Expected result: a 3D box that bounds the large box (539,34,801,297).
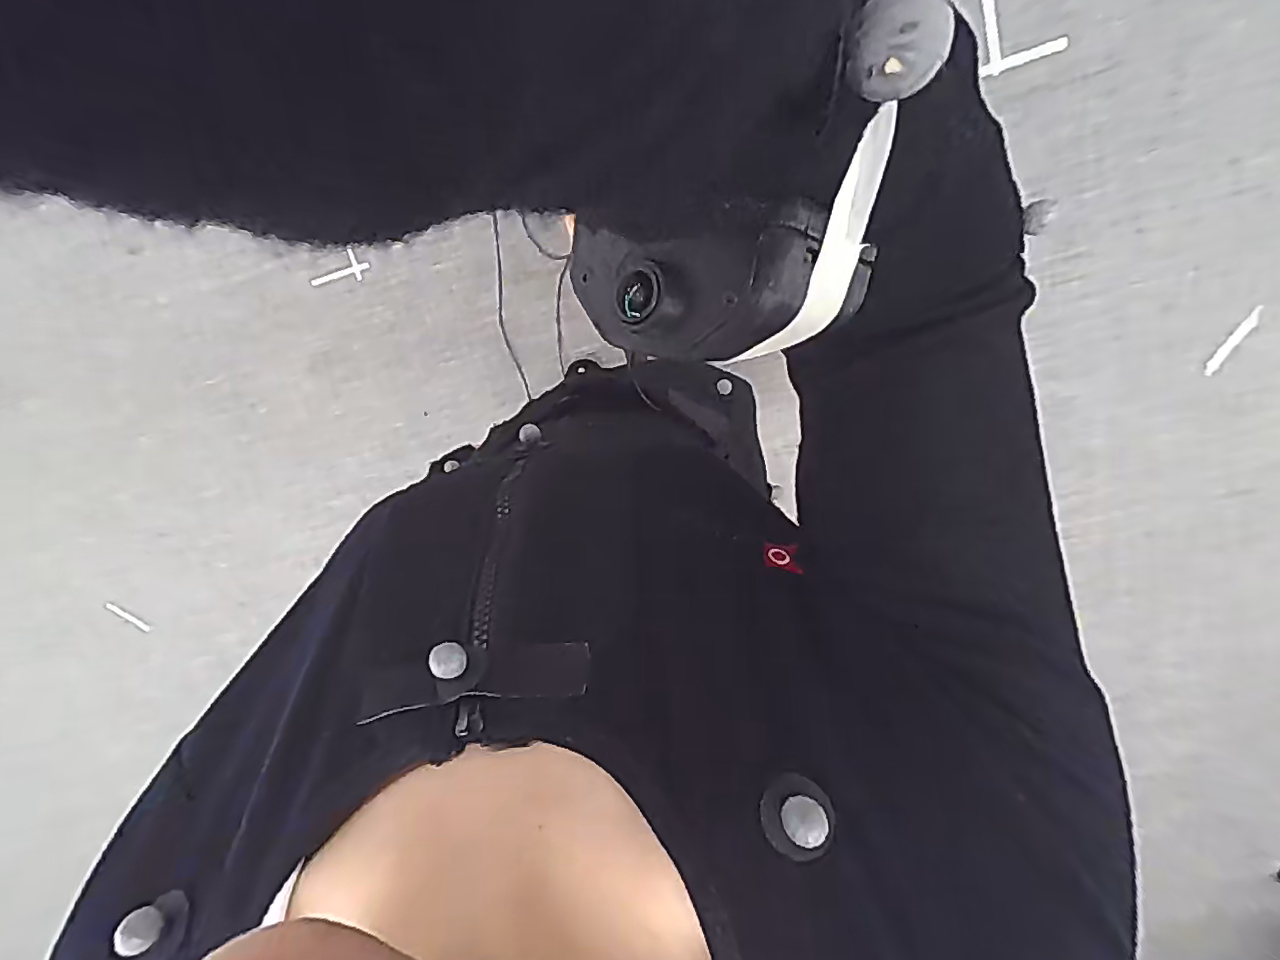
[{"bbox_3d":[0.061,-0.577,1.076,0.408,0.320,0.320,-14,104,6],"label":"large box"}]
